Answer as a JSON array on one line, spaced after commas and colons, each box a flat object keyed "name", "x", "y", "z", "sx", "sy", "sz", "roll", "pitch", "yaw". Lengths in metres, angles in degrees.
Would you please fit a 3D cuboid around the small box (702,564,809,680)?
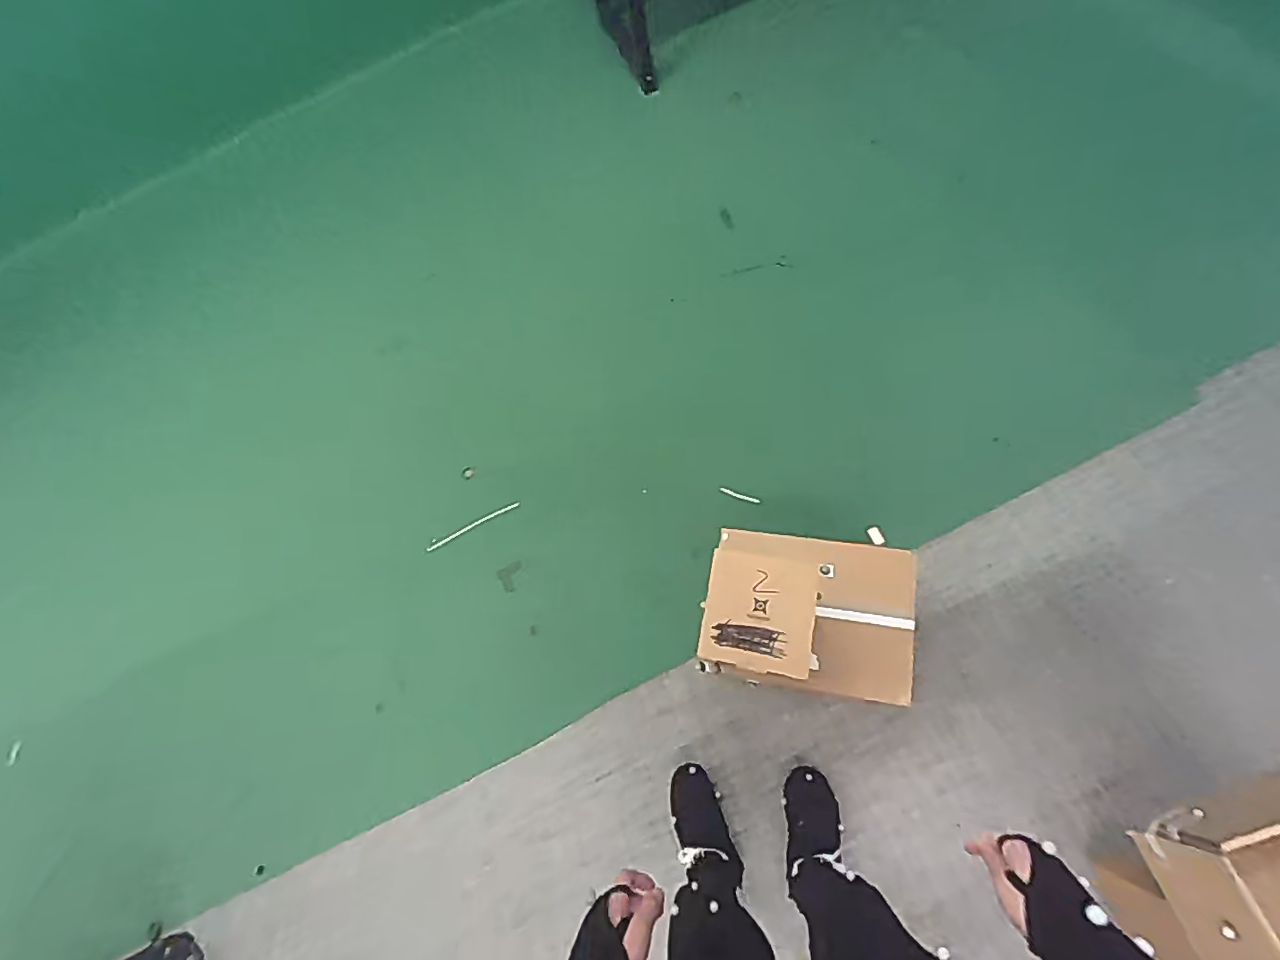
[{"name": "small box", "x": 0.223, "y": 0.280, "z": 1.050, "sx": 0.168, "sy": 0.176, "sz": 0.179, "roll": 10, "pitch": 71, "yaw": 13}]
